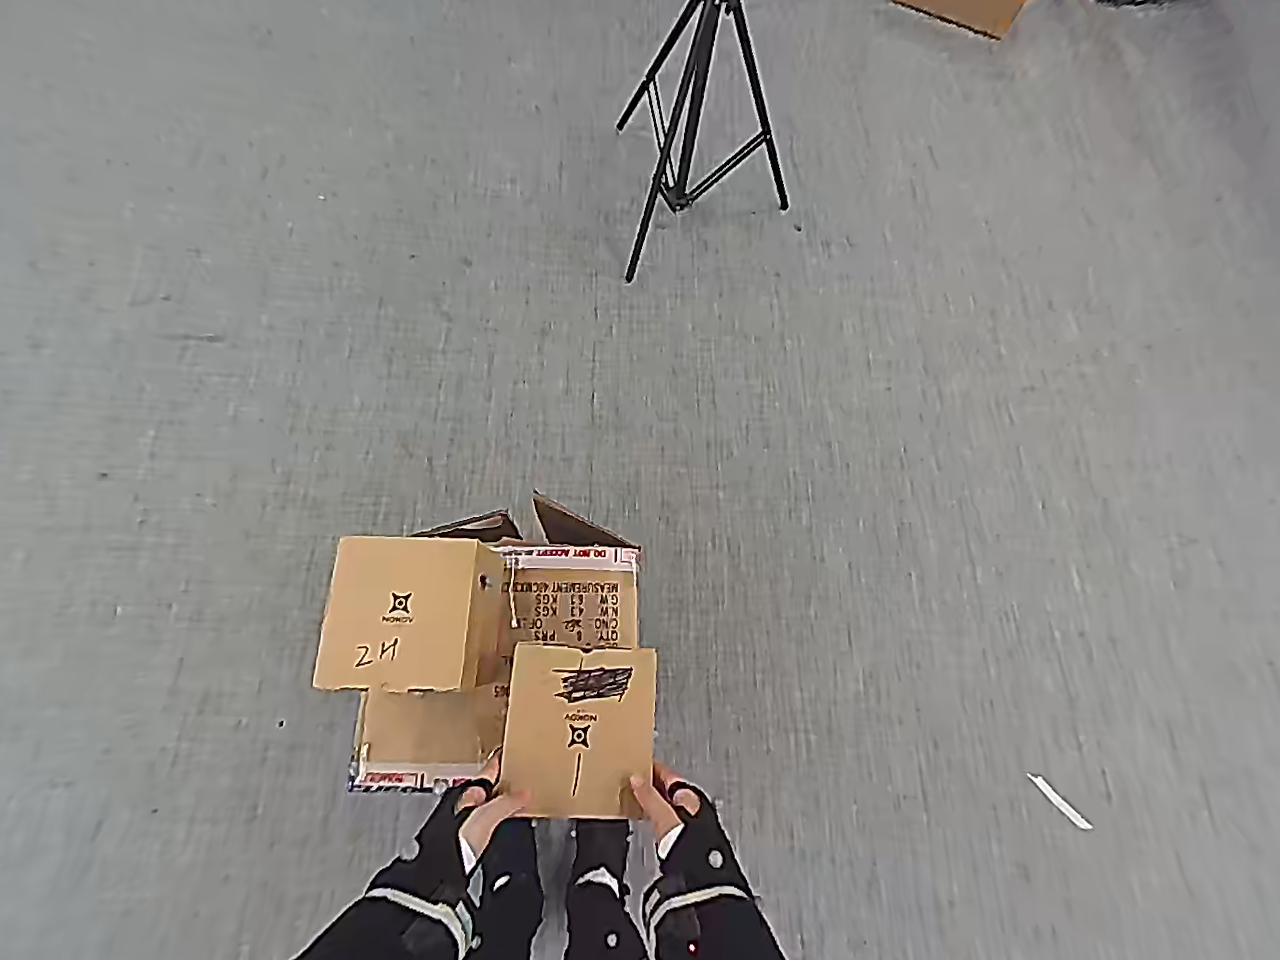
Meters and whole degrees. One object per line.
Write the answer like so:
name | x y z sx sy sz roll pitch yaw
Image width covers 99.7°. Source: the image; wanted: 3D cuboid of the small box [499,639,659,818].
small box | -0.072 0.304 0.674 0.168 0.176 0.179 5 66 -4

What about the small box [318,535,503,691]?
small box | -0.281 0.177 0.708 0.168 0.176 0.179 2 73 -2
